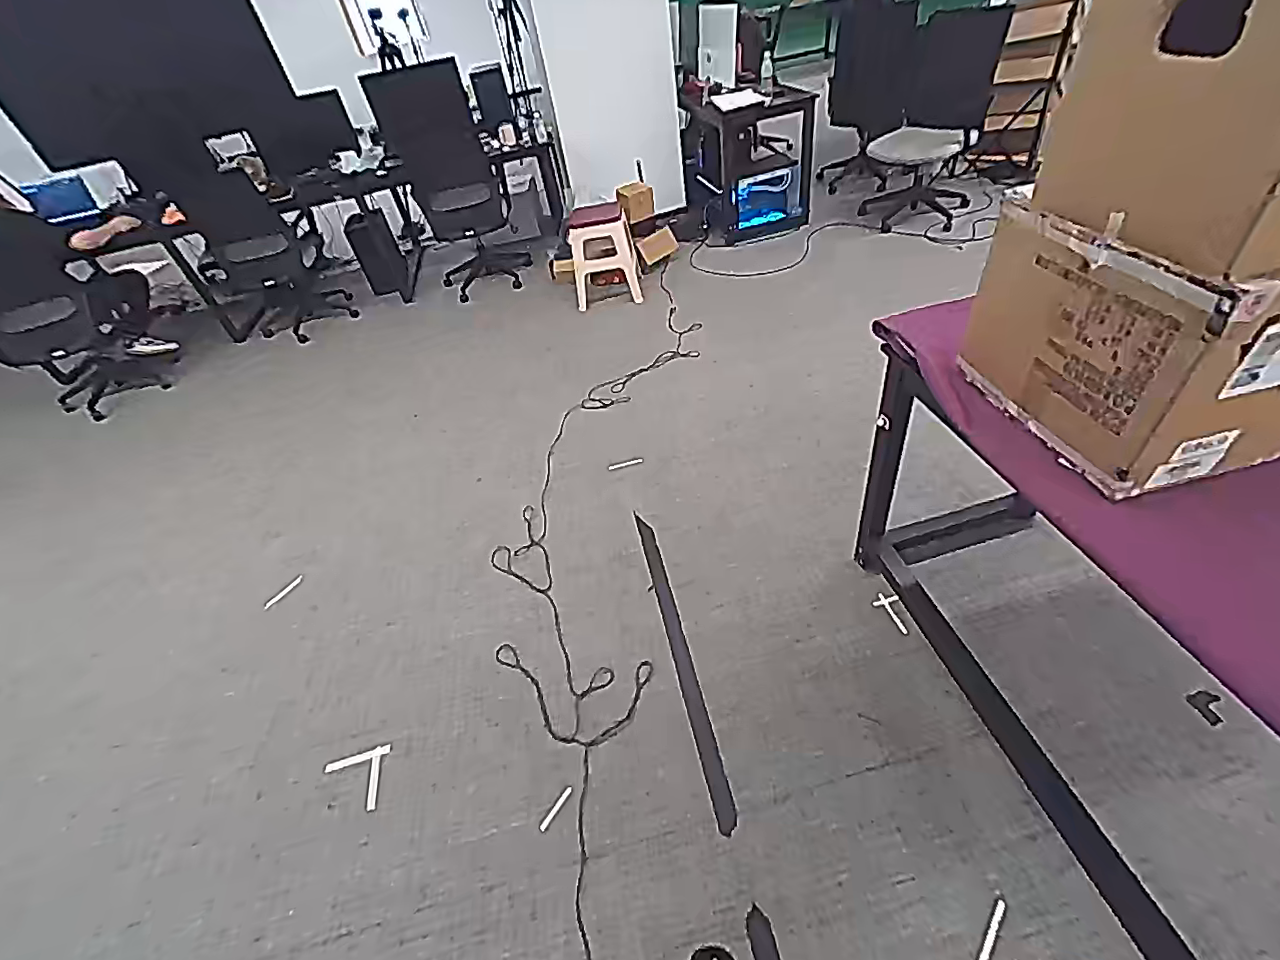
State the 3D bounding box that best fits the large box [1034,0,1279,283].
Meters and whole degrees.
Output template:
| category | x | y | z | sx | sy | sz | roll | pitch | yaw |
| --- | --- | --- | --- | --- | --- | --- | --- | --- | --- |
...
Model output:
| category | x | y | z | sx | sy | sz | roll | pitch | yaw |
| --- | --- | --- | --- | --- | --- | --- | --- | --- | --- |
| large box | 0.795 | -0.474 | 0.628 | 0.408 | 0.320 | 0.320 | -15 | 41 | -3 |
